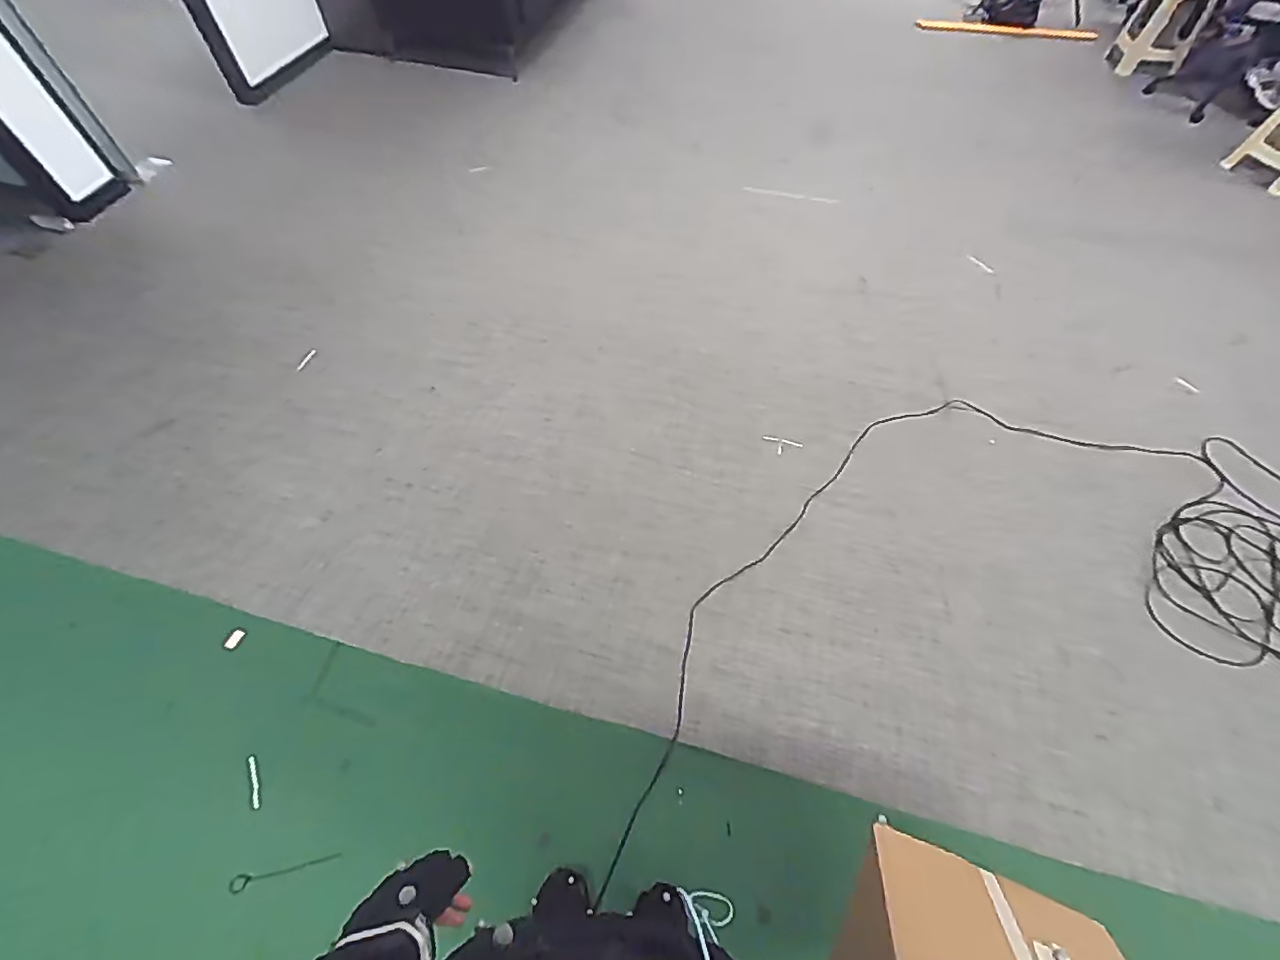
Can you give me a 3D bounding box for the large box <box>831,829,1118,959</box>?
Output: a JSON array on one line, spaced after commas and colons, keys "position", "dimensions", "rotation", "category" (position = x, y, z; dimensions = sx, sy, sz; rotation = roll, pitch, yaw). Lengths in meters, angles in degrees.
[{"position": [0.402, 0.726, 0.619], "dimensions": [0.320, 0.408, 0.320], "rotation": [18, 95, 17], "category": "large box"}]
